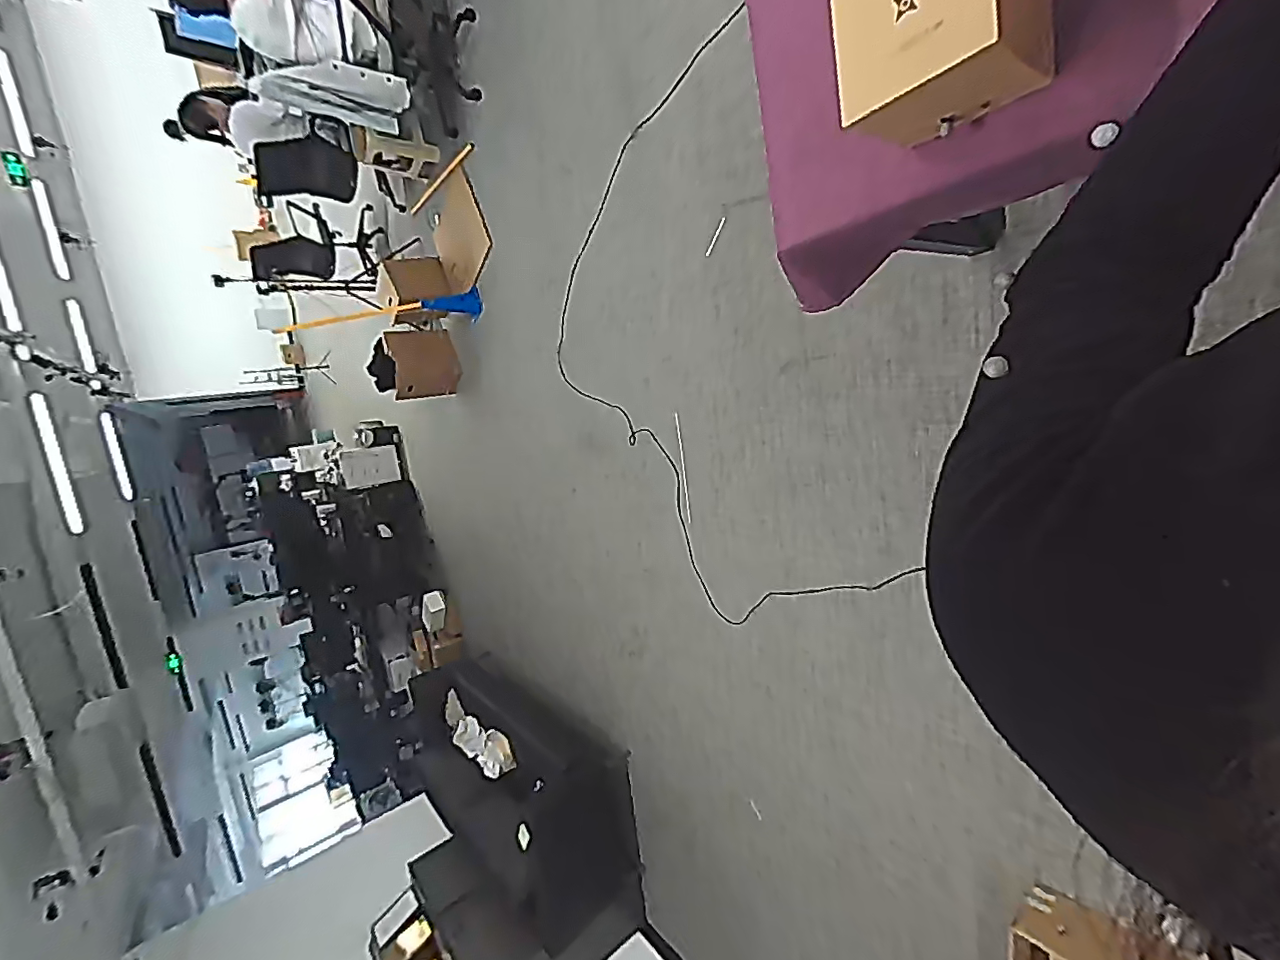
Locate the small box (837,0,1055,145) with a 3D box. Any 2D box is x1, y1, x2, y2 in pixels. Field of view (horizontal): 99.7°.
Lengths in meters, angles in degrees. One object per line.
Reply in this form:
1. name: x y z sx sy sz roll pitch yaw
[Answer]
1. small box: 0.347 -0.518 0.615 0.168 0.176 0.179 3 104 53
